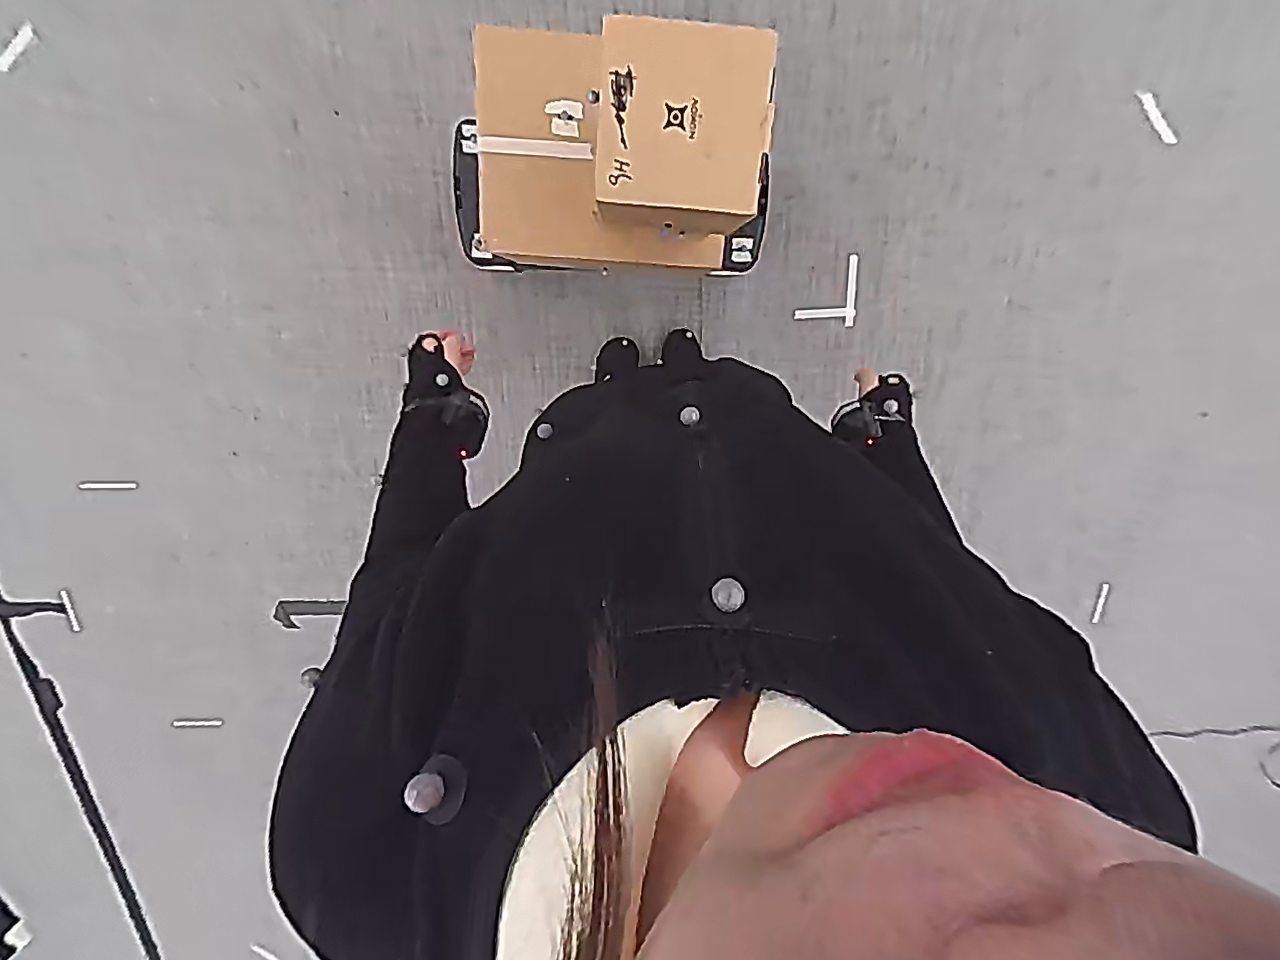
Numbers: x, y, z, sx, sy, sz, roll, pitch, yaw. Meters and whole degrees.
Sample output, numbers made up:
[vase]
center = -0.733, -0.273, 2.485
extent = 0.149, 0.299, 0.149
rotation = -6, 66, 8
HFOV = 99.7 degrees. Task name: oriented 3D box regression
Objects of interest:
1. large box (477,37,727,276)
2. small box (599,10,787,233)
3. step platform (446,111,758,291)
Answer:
[large box]
center = -0.051, -0.550, 0.991
extent = 0.408, 0.320, 0.320
rotation = 3, 107, -1
[small box]
center = 0.046, -0.386, 0.617
extent = 0.179, 0.176, 0.168
rotation = 4, 107, -4
[step platform]
center = -0.078, -0.612, 1.220
extent = 0.684, 0.204, 0.286
rotation = 6, 107, -2
